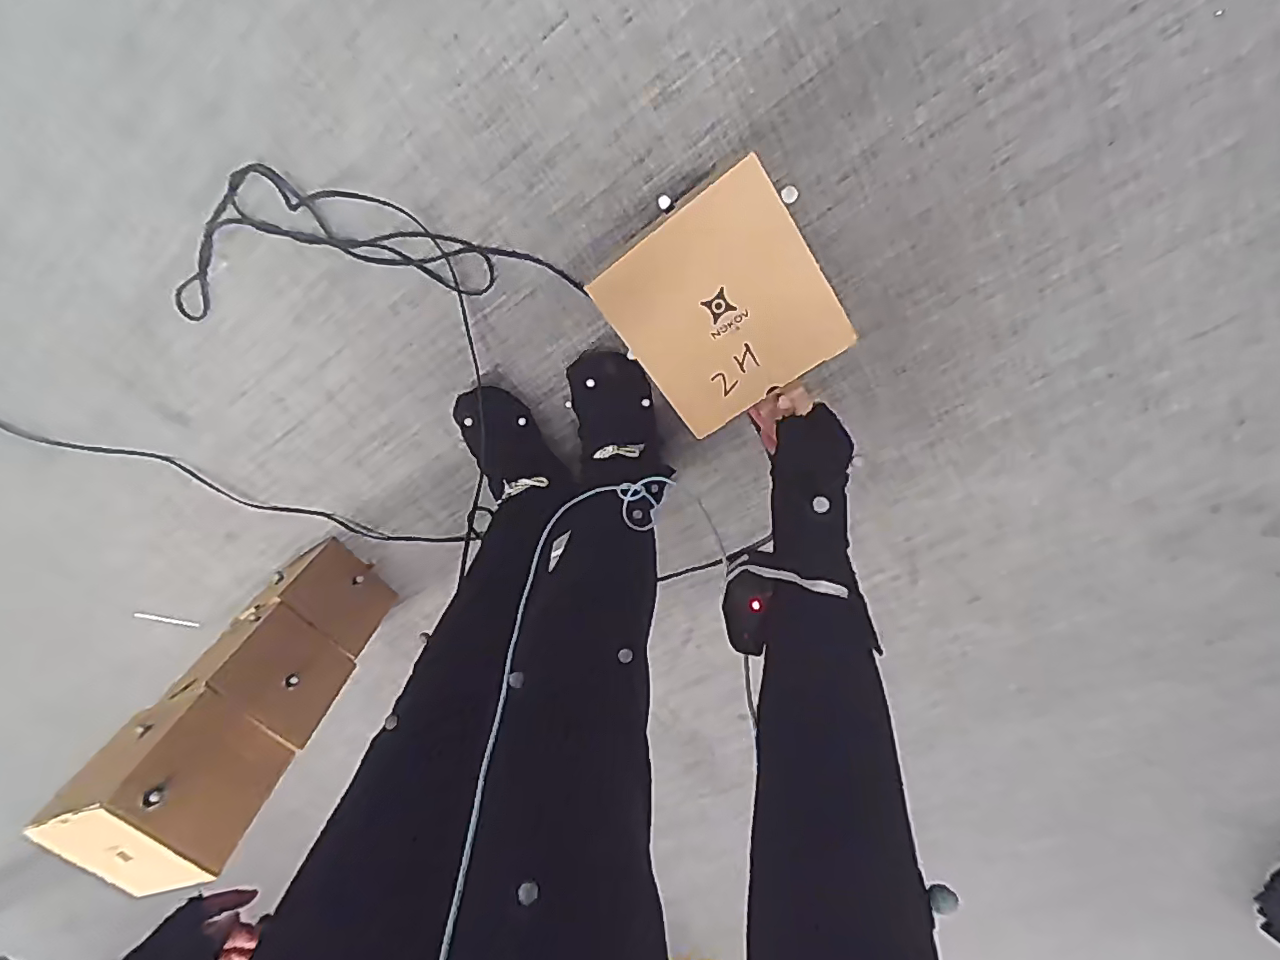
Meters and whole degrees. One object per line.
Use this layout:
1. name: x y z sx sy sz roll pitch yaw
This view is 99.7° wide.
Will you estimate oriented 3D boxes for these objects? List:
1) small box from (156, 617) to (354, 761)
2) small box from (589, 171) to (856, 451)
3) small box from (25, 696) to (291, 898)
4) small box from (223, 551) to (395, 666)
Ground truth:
1. small box: -0.618 0.347 0.881 0.168 0.176 0.179 -27 116 19
2. small box: 0.075 -0.165 0.525 0.168 0.176 0.179 -31 113 20
3. small box: -0.638 0.432 0.744 0.168 0.176 0.179 -22 115 17
4. small box: -0.609 0.257 1.018 0.168 0.176 0.179 -27 114 19
